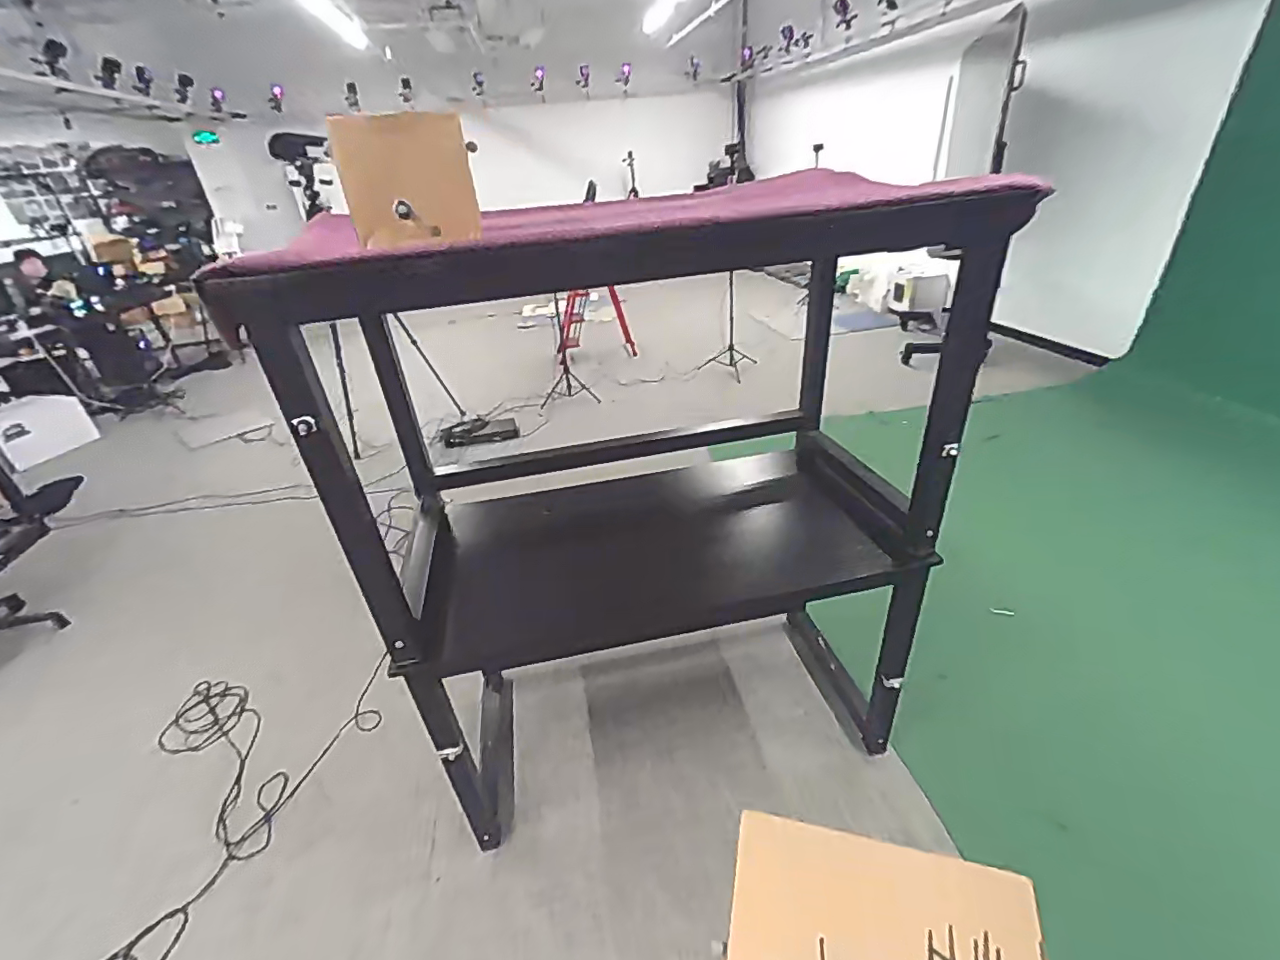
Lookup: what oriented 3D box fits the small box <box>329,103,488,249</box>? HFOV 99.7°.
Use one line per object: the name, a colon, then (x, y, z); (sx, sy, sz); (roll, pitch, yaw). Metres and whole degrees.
small box: (-0.324, -0.440, 0.796); (0.168, 0.176, 0.179); (-10, 30, -11)
